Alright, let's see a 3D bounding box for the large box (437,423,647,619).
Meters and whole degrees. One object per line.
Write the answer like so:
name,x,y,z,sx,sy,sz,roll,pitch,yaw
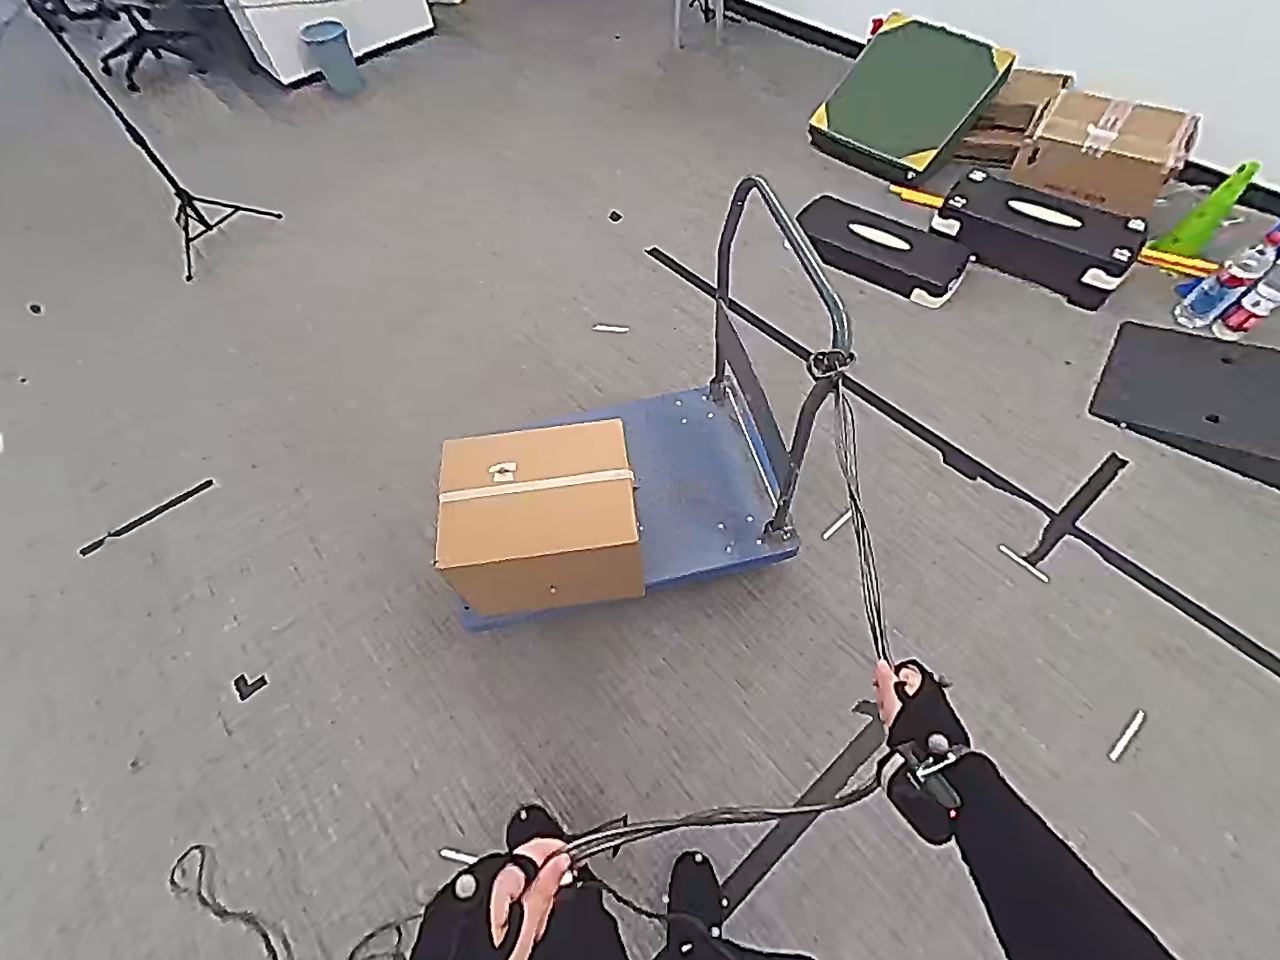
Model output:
large box,-0.208,0.105,1.254,0.408,0.320,0.320,-8,58,-1
